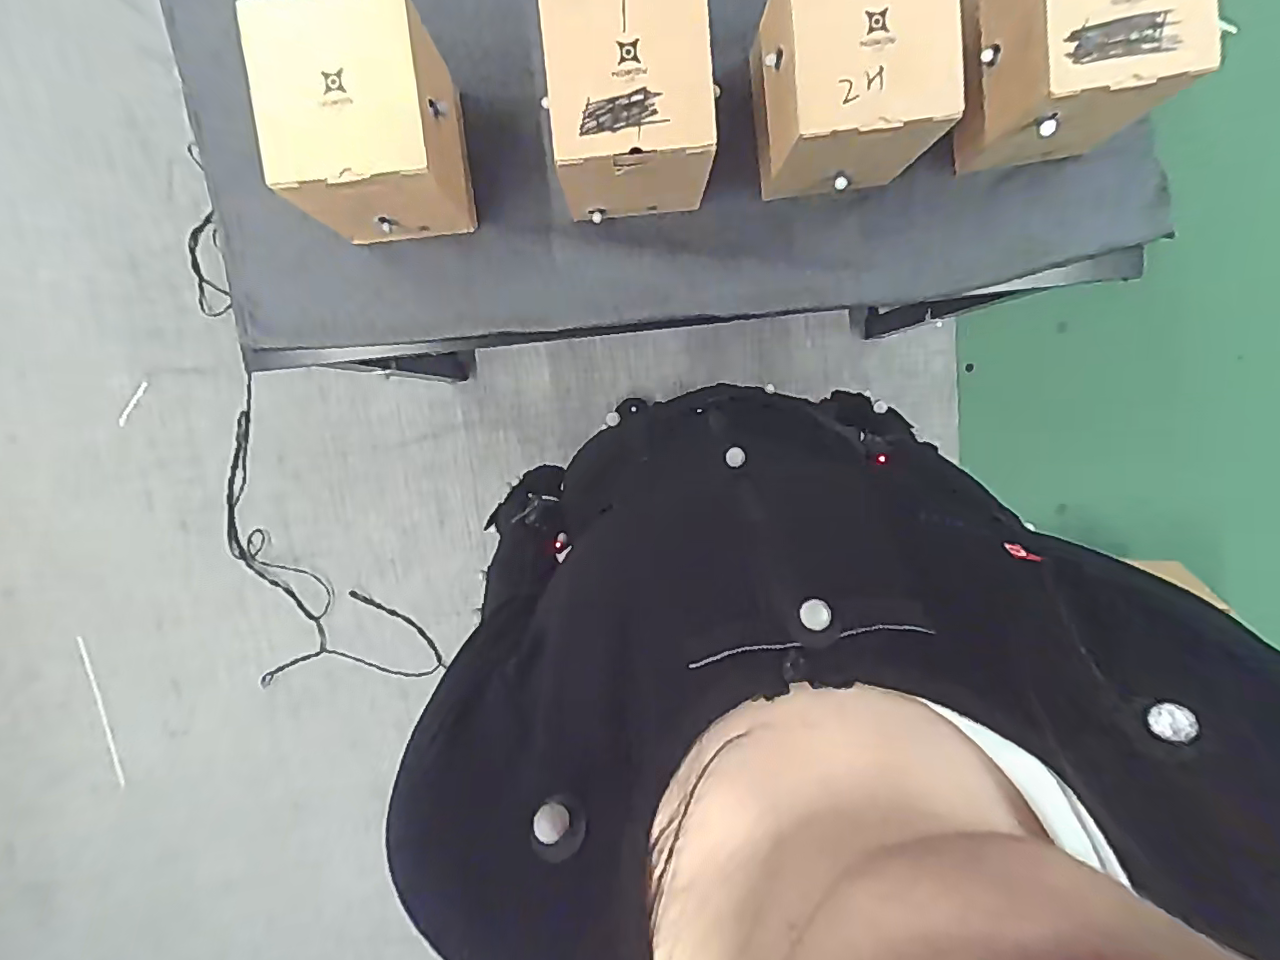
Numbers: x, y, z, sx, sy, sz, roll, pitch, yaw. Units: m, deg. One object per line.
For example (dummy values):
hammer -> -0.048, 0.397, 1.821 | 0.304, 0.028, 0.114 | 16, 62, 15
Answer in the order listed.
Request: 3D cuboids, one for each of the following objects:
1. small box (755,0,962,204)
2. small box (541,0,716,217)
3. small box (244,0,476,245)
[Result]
small box -> 0.231, -0.442, 0.609 | 0.168, 0.176, 0.179 | -7, 97, 2
small box -> -0.010, -0.414, 0.611 | 0.168, 0.176, 0.179 | -5, 96, 0
small box -> -0.297, -0.390, 0.612 | 0.168, 0.176, 0.179 | -6, 96, 0
